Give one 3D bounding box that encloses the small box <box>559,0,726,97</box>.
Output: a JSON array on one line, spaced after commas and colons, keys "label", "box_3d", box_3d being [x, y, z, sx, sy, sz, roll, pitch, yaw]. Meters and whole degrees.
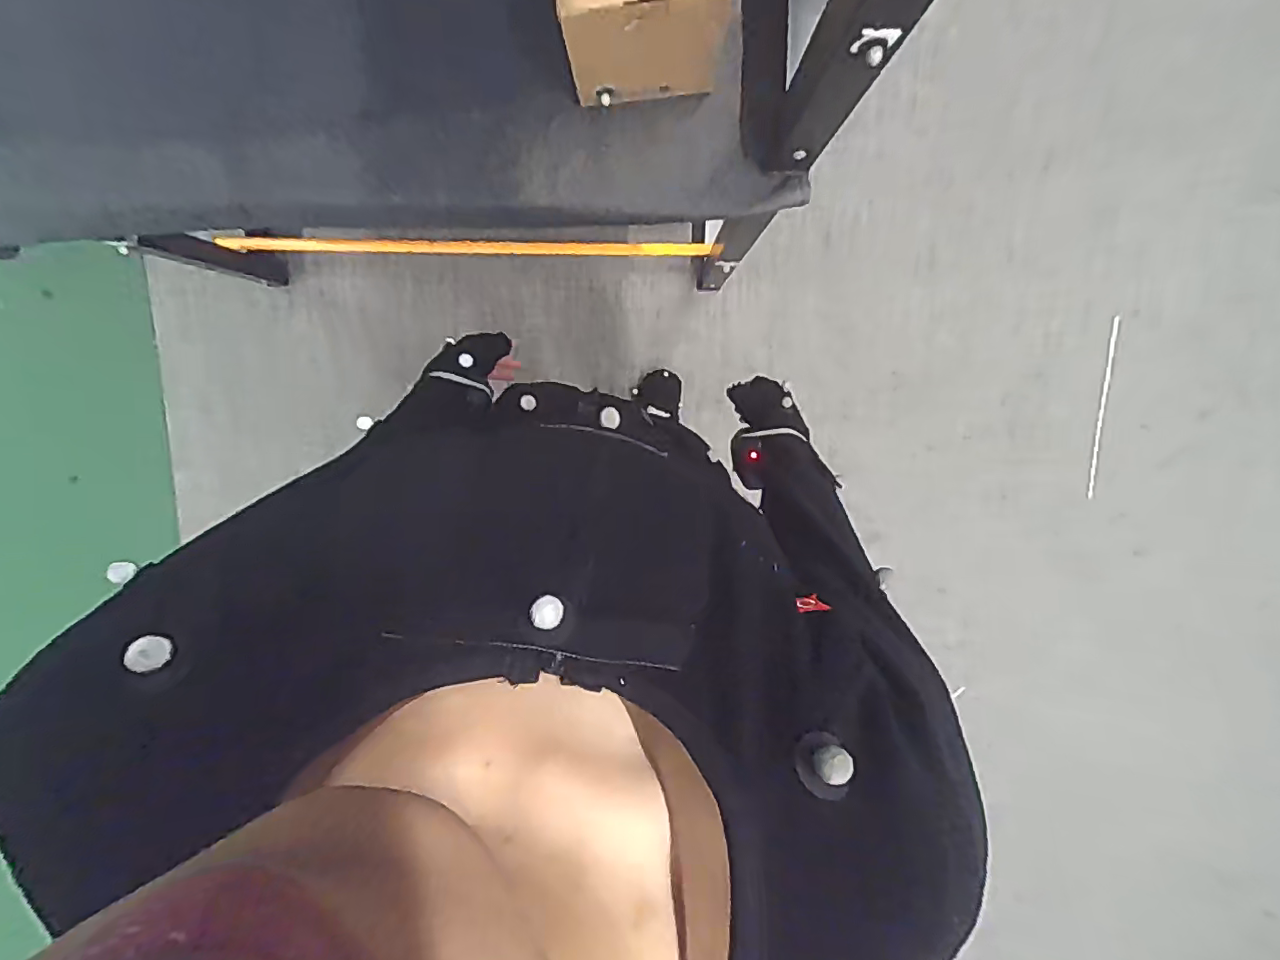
[{"label": "small box", "box_3d": [0.001, -0.544, 0.578, 0.168, 0.176, 0.179, -5, 98, 2]}]
